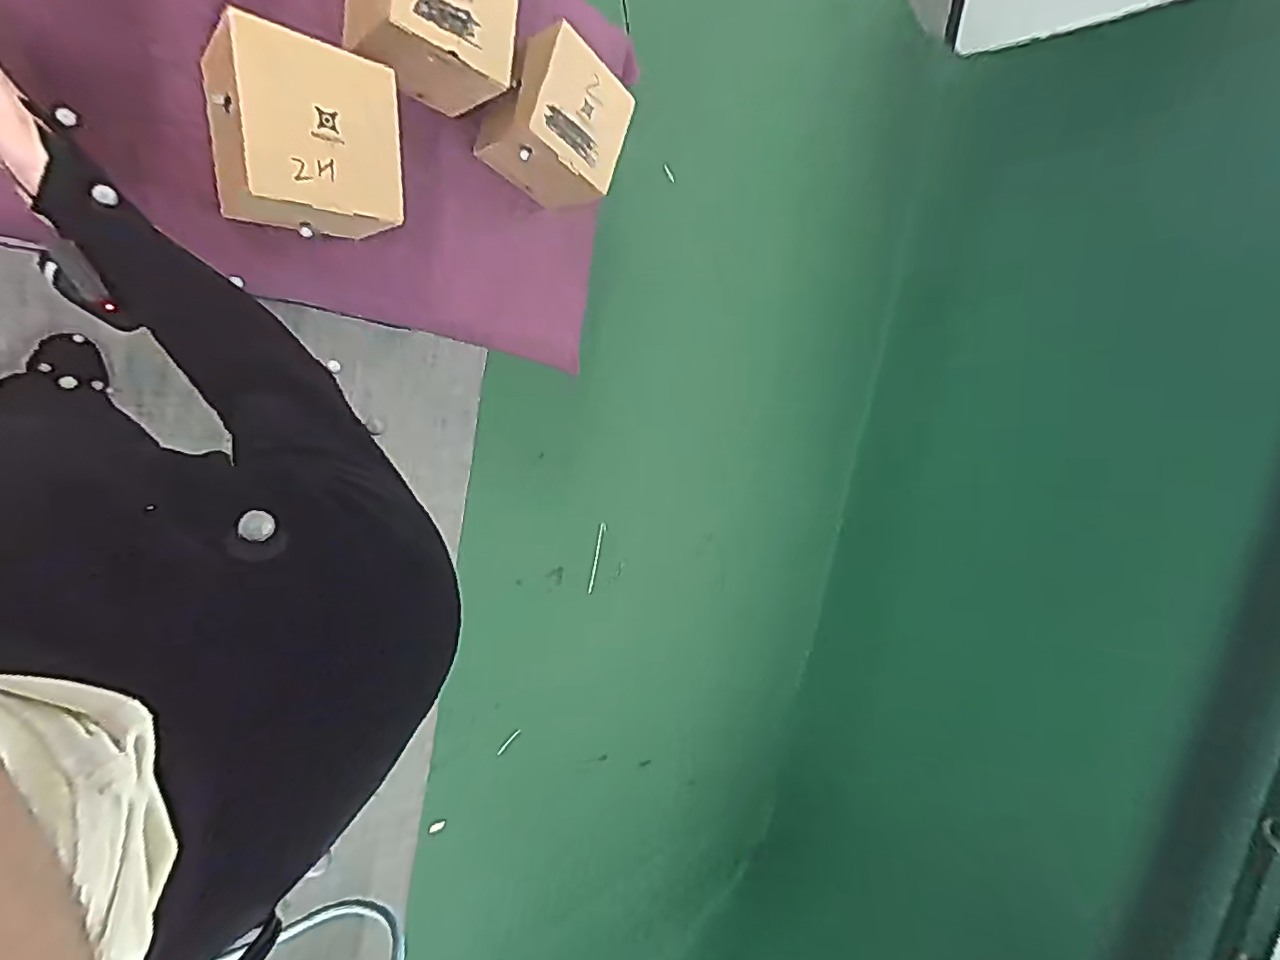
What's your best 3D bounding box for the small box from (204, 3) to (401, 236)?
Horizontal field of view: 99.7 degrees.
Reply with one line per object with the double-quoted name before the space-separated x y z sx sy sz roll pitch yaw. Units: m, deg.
"small box" -0.414 -0.417 0.666 0.168 0.176 0.179 -11 108 -44
